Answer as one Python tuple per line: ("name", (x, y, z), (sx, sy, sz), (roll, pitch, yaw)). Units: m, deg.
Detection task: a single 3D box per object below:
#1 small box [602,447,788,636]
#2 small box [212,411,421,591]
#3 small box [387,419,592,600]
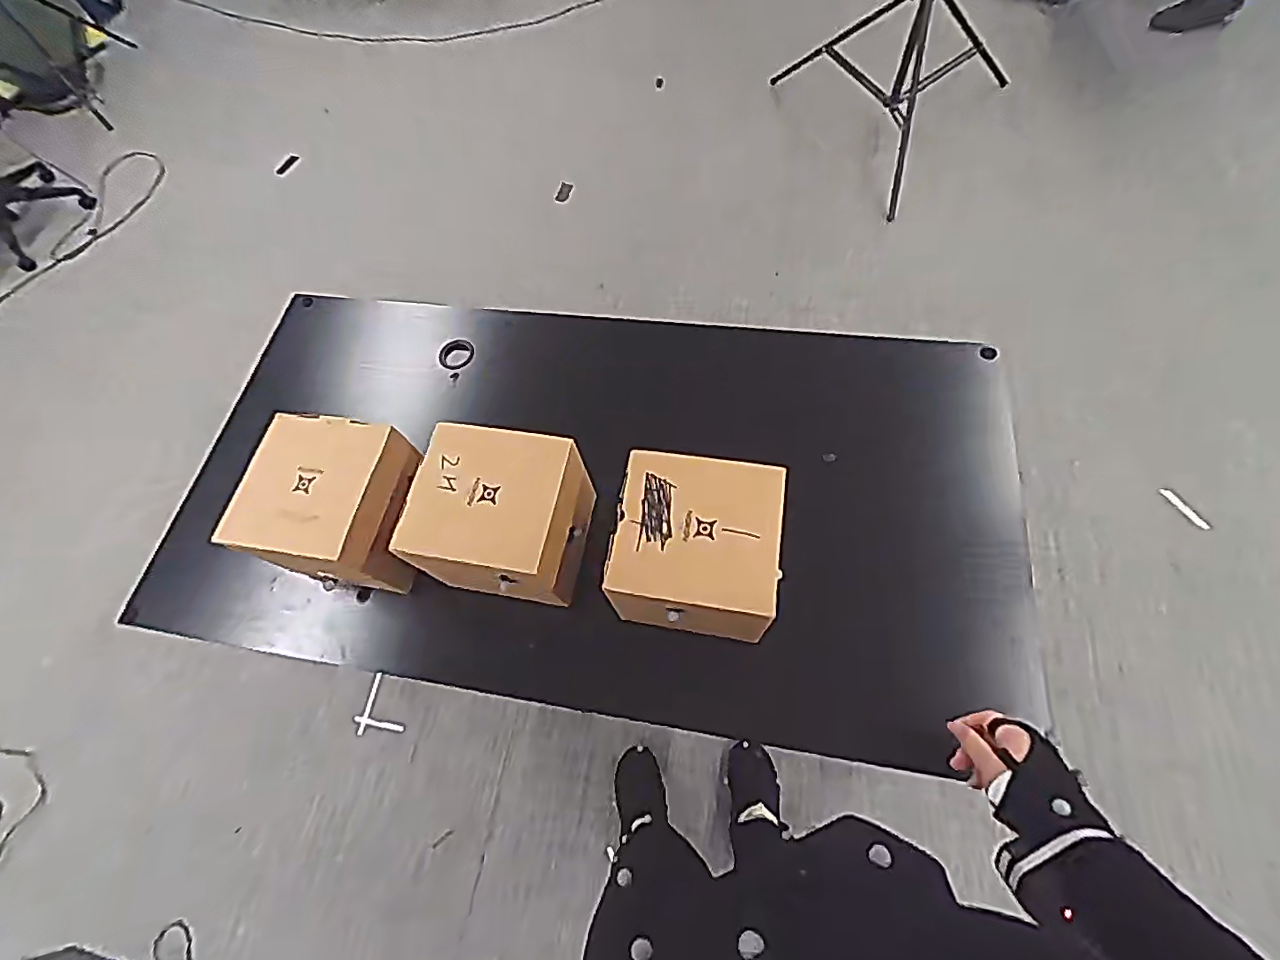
("small box", (0.067, 0.080, 0.637), (0.179, 0.176, 0.168), (8, 67, 8))
("small box", (-0.386, 0.032, 0.706), (0.168, 0.176, 0.179), (6, 67, 10))
("small box", (-0.168, 0.045, 0.676), (0.179, 0.176, 0.168), (8, 66, 9))
